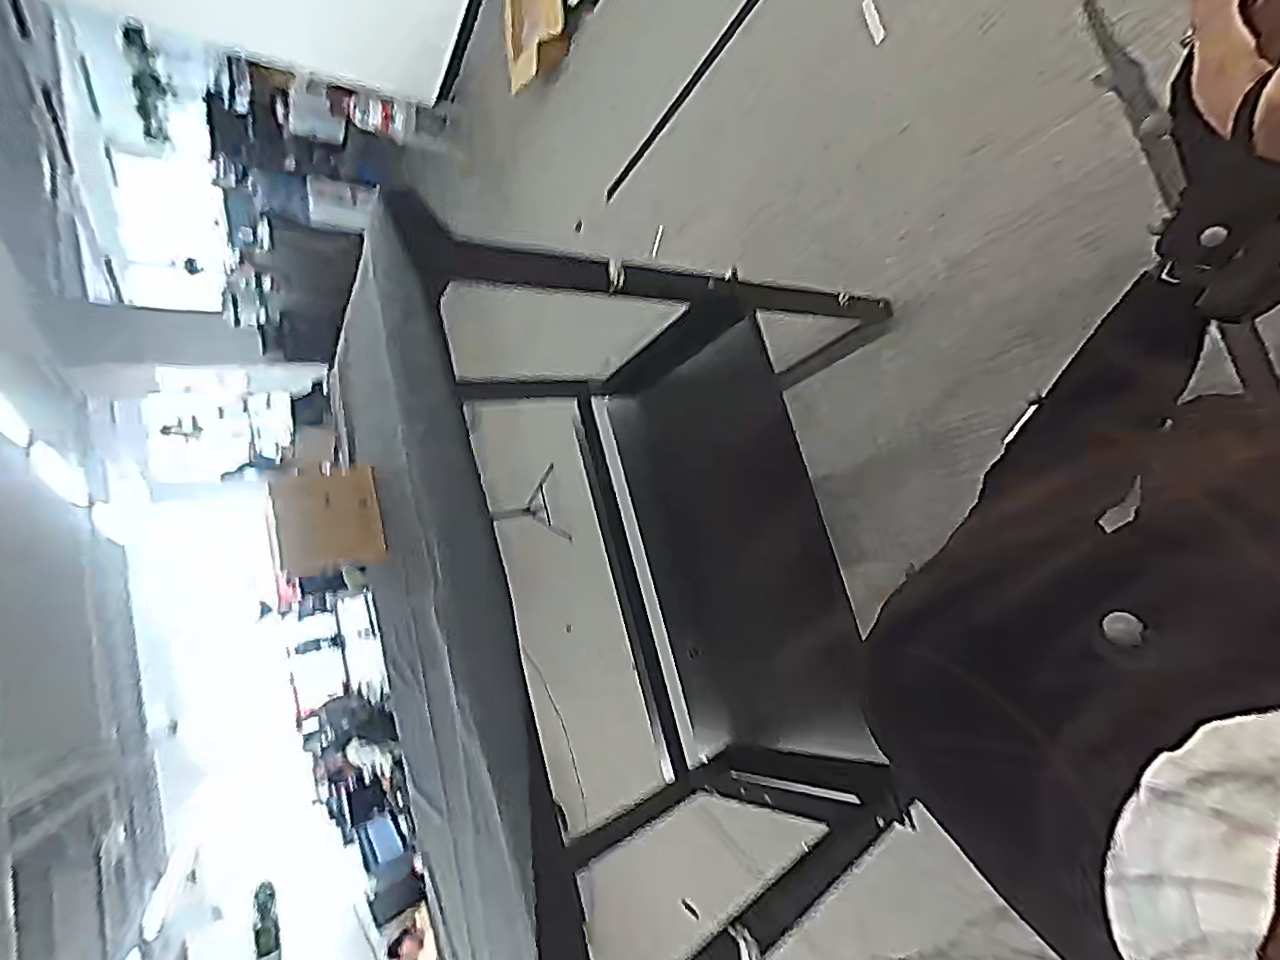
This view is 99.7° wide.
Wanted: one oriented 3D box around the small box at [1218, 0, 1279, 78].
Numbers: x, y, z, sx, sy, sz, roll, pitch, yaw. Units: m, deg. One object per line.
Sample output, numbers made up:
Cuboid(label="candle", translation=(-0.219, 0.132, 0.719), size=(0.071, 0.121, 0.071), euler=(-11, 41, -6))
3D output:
Cuboid(label="small box", translation=(0.445, -0.350, 0.277), size=(0.168, 0.176, 0.179), euler=(8, 96, 33))

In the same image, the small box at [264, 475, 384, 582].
Cuboid(label="small box", translation=(-0.595, 0.092, 1.021), size=(0.179, 0.176, 0.168), euler=(-18, 82, 53))
